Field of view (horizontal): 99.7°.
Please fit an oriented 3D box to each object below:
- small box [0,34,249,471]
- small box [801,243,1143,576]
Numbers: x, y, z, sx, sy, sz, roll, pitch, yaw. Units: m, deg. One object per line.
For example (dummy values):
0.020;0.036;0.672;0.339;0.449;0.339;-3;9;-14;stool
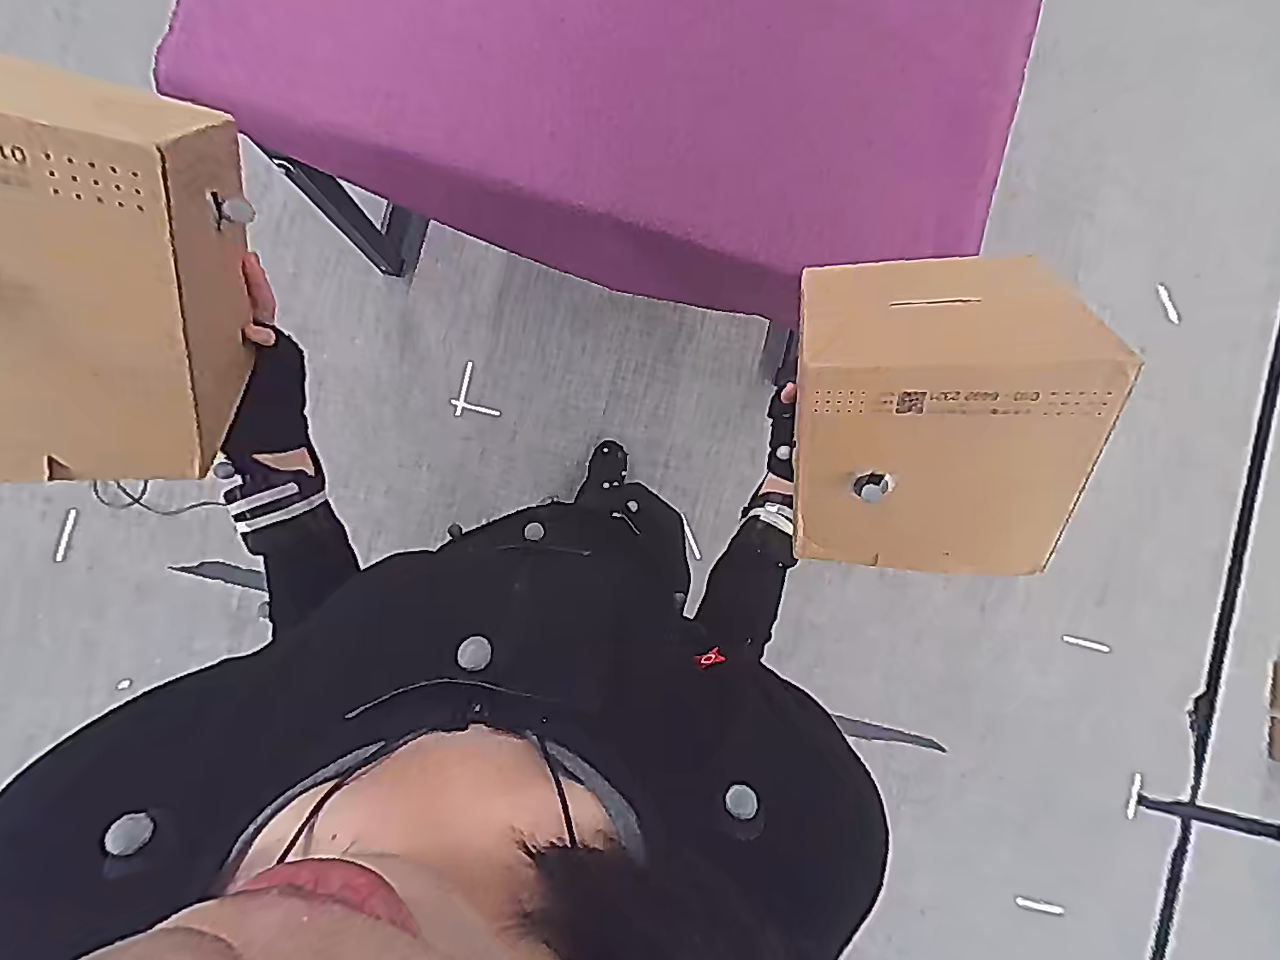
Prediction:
-0.313;-0.120;0.269;0.168;0.179;0.176;1;122;-28;small box
0.206;-0.056;0.391;0.168;0.179;0.176;4;130;14;small box
